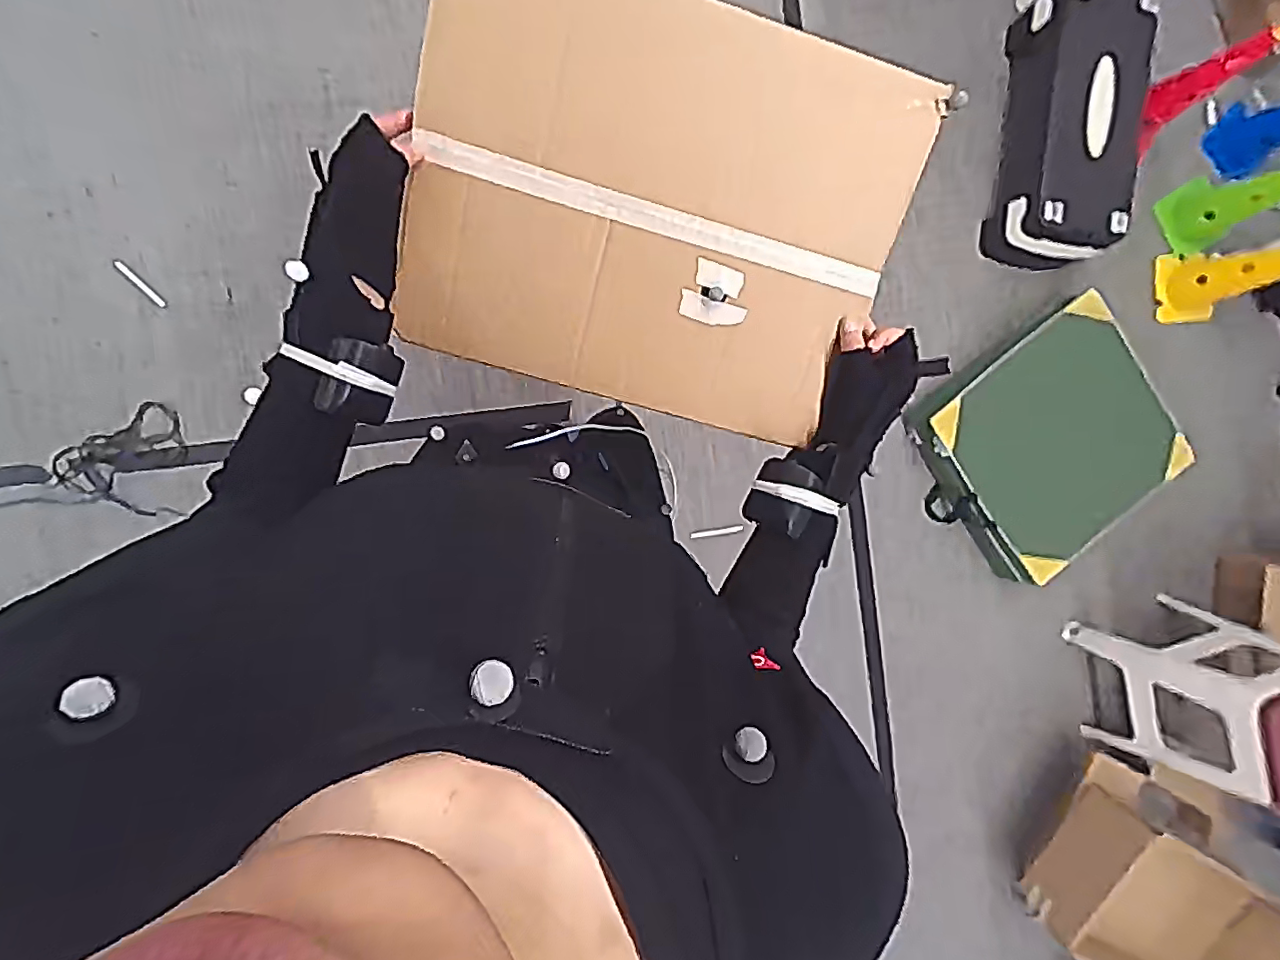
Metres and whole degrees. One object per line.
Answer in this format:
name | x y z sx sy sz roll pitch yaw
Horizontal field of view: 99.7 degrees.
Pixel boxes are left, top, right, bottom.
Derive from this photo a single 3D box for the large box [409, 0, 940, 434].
large box | 0.012 -0.275 0.606 0.408 0.320 0.320 15 108 -8
